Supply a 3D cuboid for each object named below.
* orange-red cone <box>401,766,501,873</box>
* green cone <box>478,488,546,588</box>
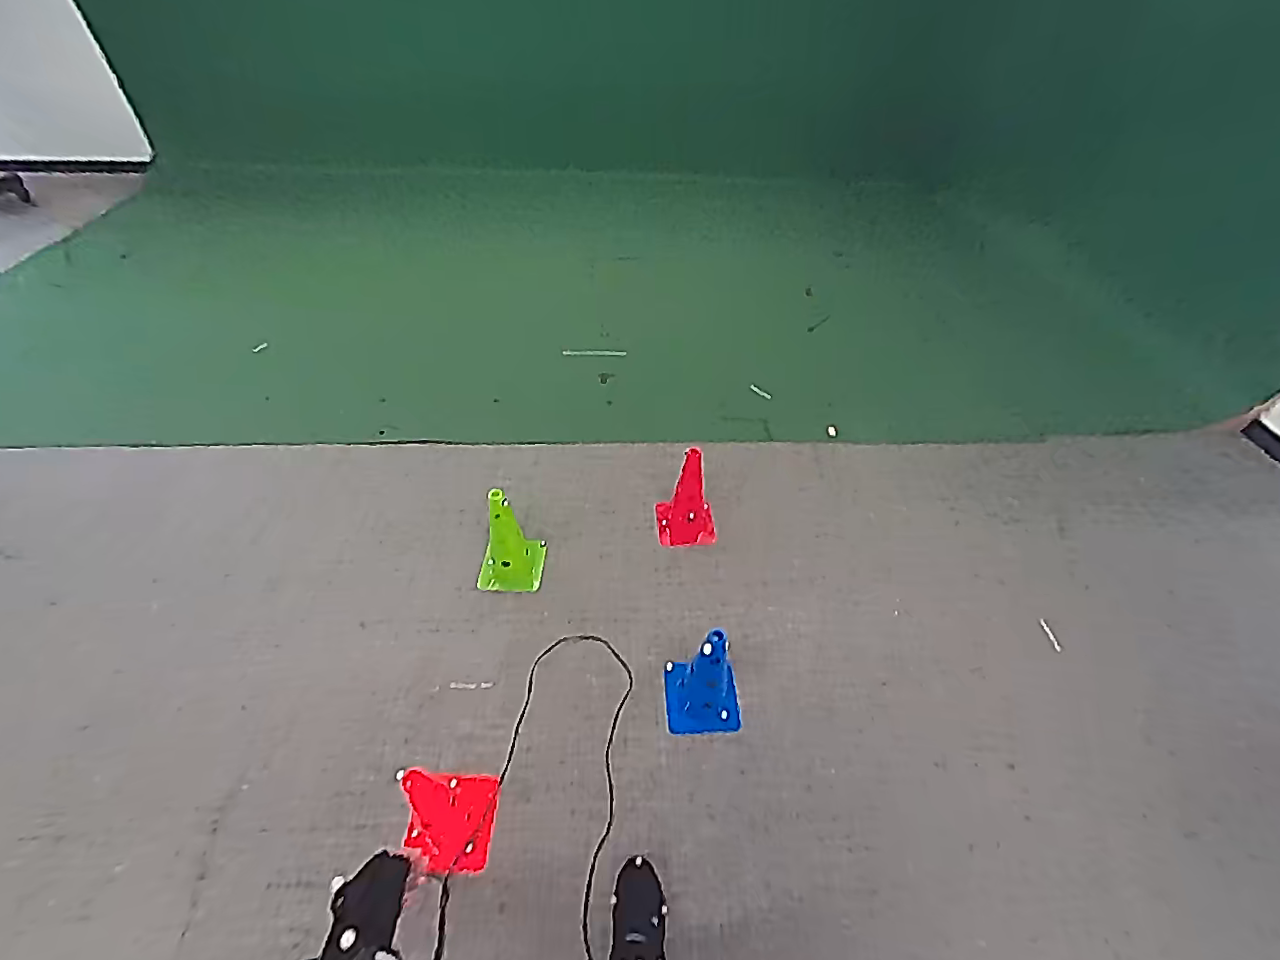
[{"bbox_3d":[-0.436,0.688,1.162,0.198,0.360,0.199,4,45,0],"label":"orange-red cone"},{"bbox_3d":[-0.418,0.154,1.662,0.200,0.368,0.202,1,48,0],"label":"green cone"}]
